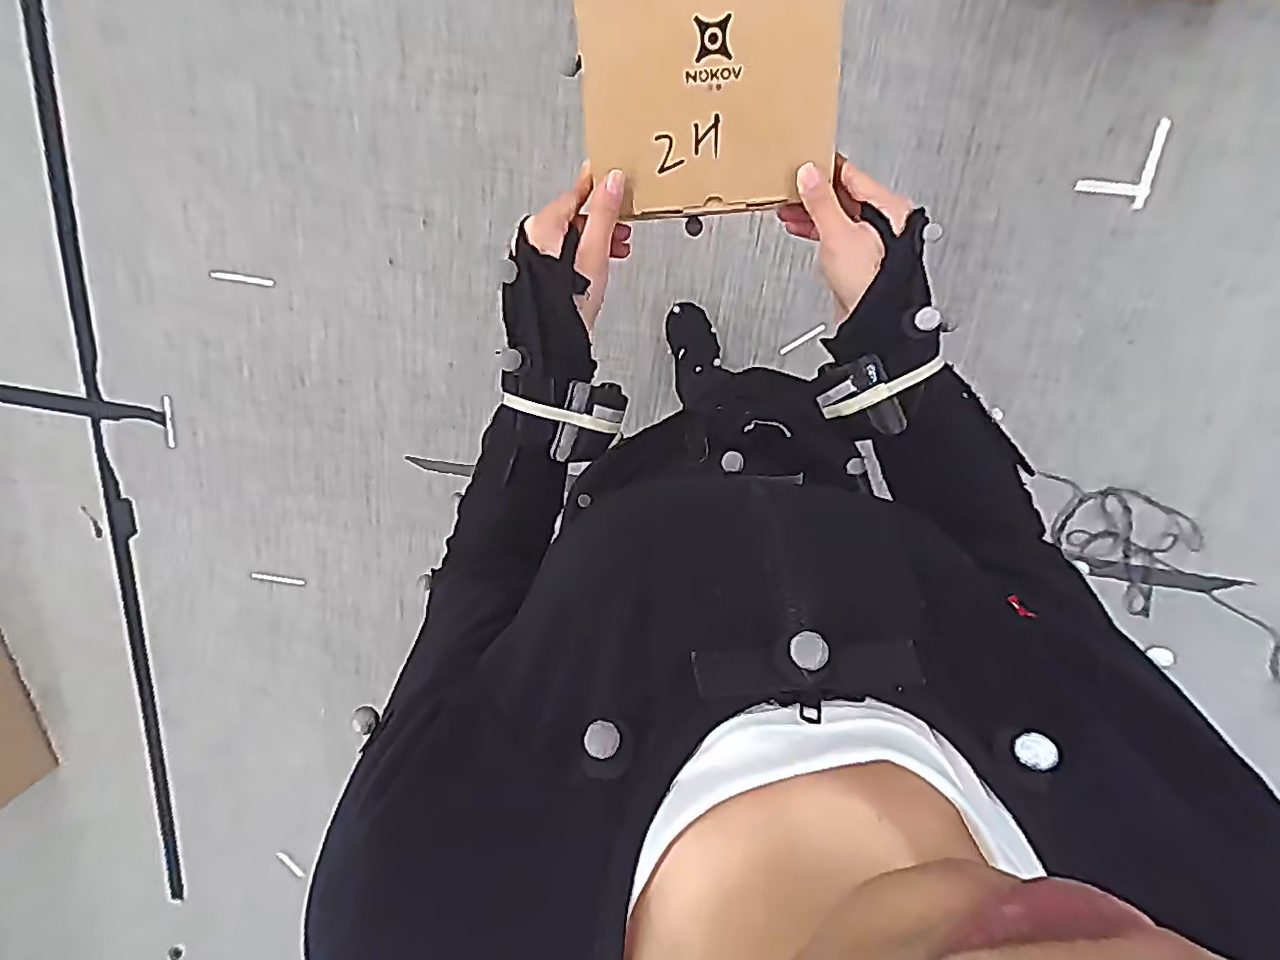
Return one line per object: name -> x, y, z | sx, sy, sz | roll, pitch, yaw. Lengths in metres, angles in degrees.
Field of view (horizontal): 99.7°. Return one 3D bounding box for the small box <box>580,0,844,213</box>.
small box -> 0.041, -0.308, 0.409 | 0.168, 0.176, 0.179 | -4, 115, 0
